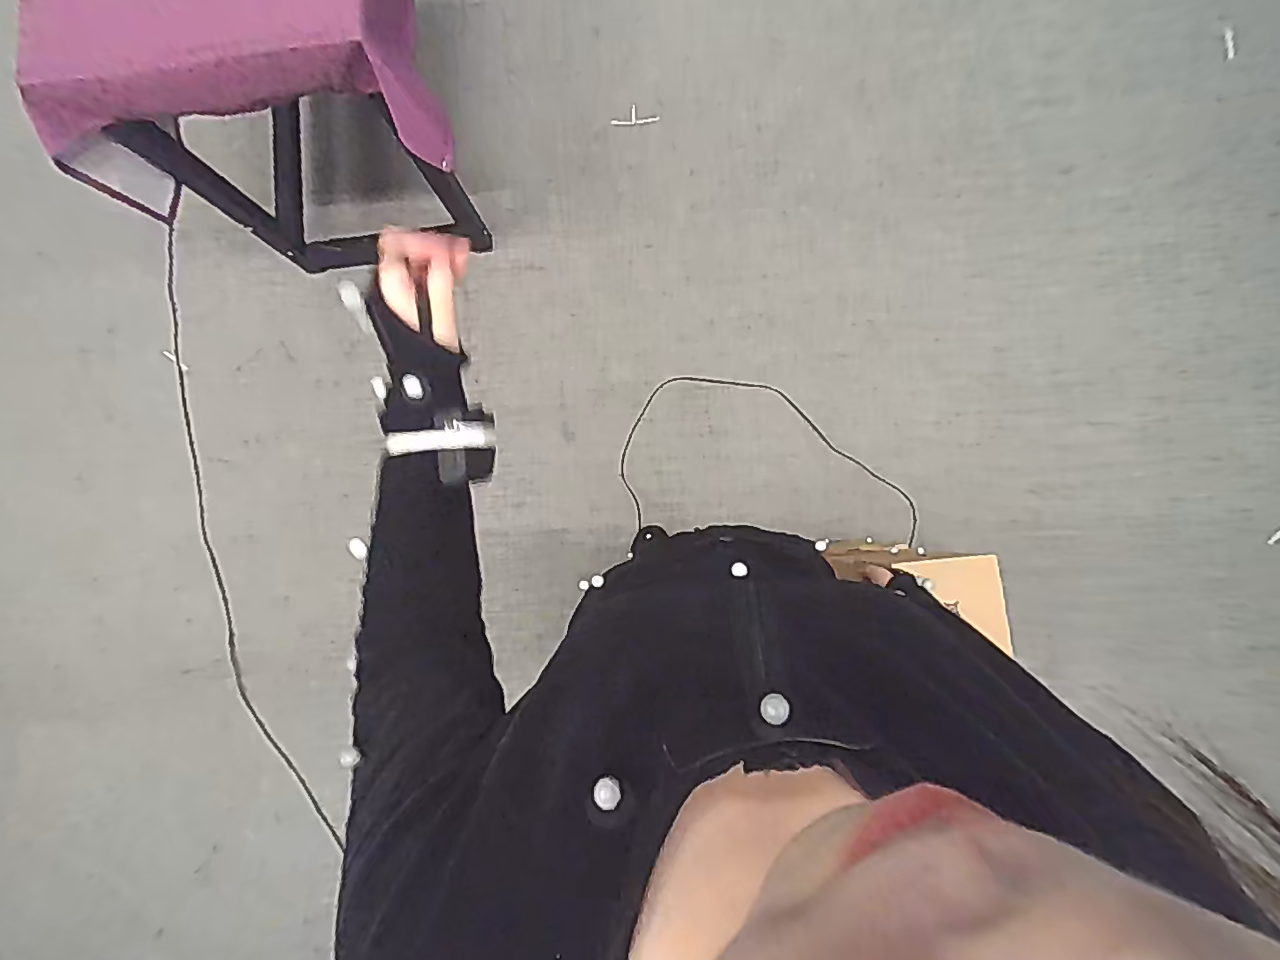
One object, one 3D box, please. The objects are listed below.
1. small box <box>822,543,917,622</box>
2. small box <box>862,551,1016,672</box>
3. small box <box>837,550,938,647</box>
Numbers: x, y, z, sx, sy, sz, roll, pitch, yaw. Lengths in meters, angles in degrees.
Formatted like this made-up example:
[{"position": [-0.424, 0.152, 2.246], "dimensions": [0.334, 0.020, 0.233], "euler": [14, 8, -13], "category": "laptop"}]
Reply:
[{"position": [0.527, 0.237, 1.241], "dimensions": [0.168, 0.176, 0.179], "euler": [-6, 85, 3], "category": "small box"}, {"position": [0.491, 0.212, 0.916], "dimensions": [0.168, 0.176, 0.179], "euler": [-5, 84, 3], "category": "small box"}, {"position": [0.505, 0.230, 1.079], "dimensions": [0.179, 0.176, 0.168], "euler": [-6, 84, 2], "category": "small box"}]
